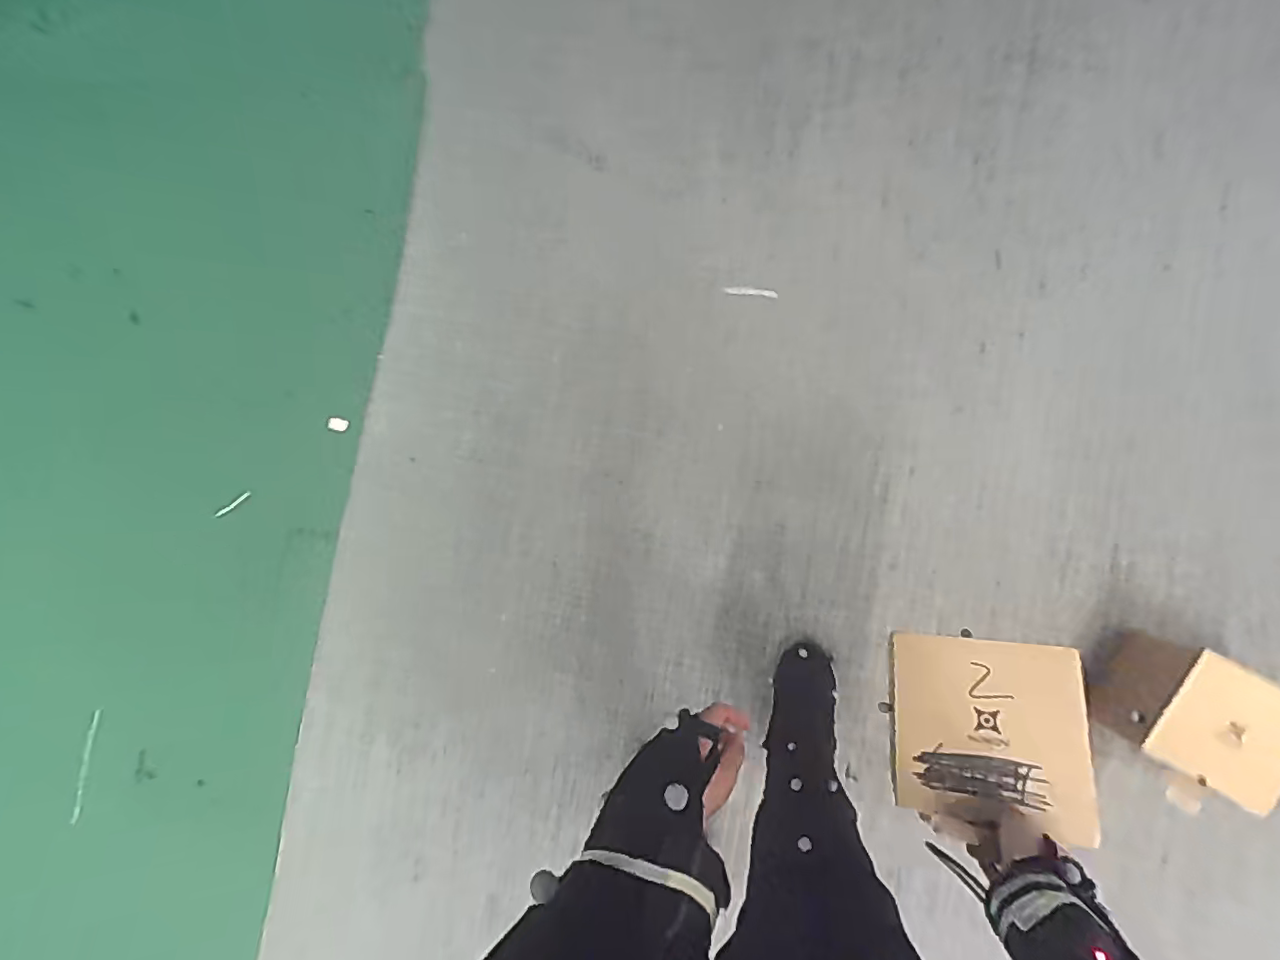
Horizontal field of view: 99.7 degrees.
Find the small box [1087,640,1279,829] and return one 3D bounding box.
[{"bbox_3d":[0.853,0.373,0.835,0.168,0.176,0.179,31,93,14],"label":"small box"}]
